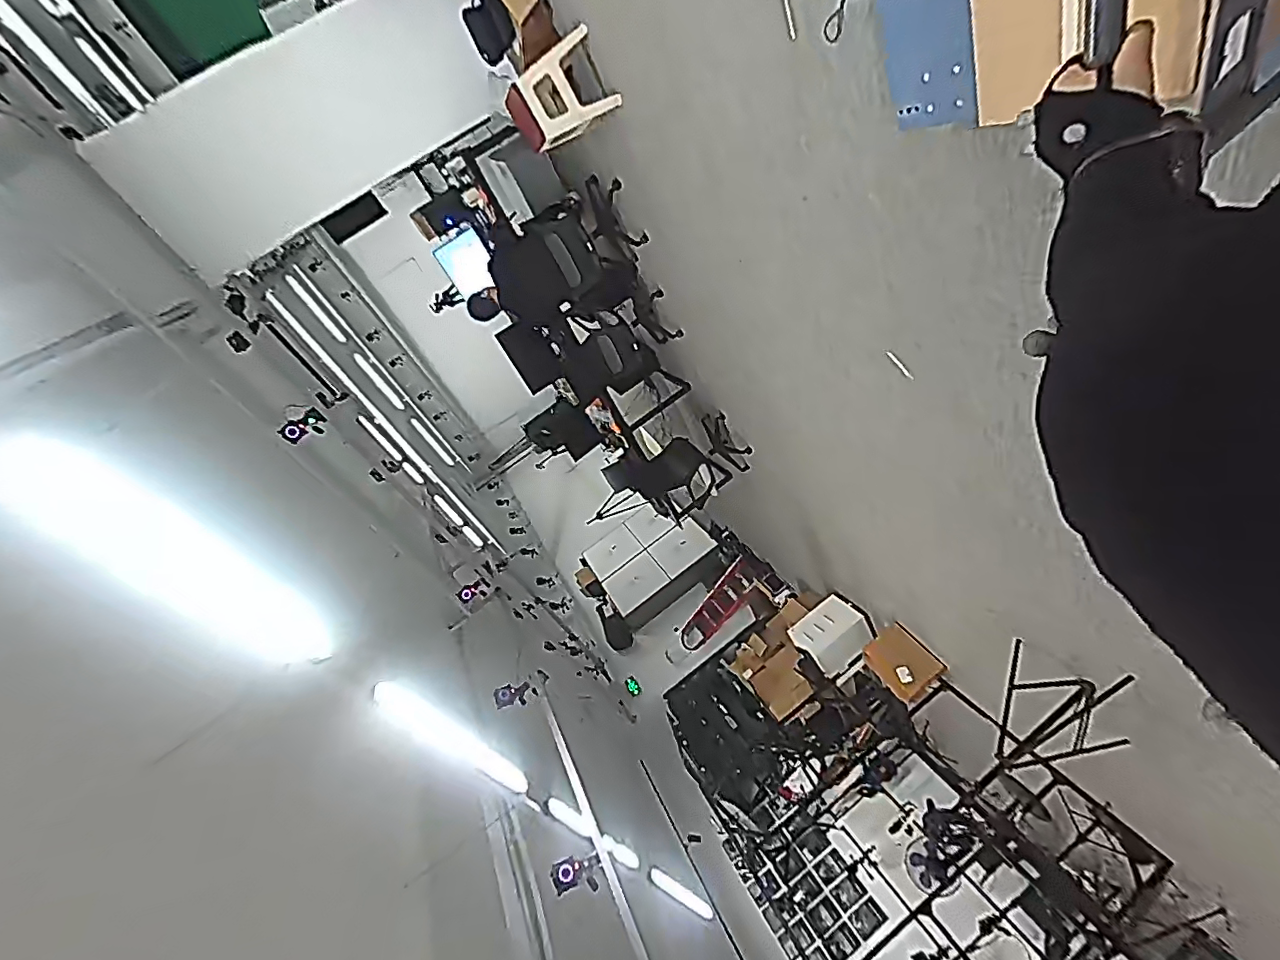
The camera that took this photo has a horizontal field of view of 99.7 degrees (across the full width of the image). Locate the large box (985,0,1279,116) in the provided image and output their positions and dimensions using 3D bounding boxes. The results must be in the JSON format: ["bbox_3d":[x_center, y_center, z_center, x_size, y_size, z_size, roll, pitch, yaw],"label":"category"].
[{"bbox_3d":[0.726,-0.816,0.749,0.408,0.320,0.320,58,171,-34],"label":"large box"}]
